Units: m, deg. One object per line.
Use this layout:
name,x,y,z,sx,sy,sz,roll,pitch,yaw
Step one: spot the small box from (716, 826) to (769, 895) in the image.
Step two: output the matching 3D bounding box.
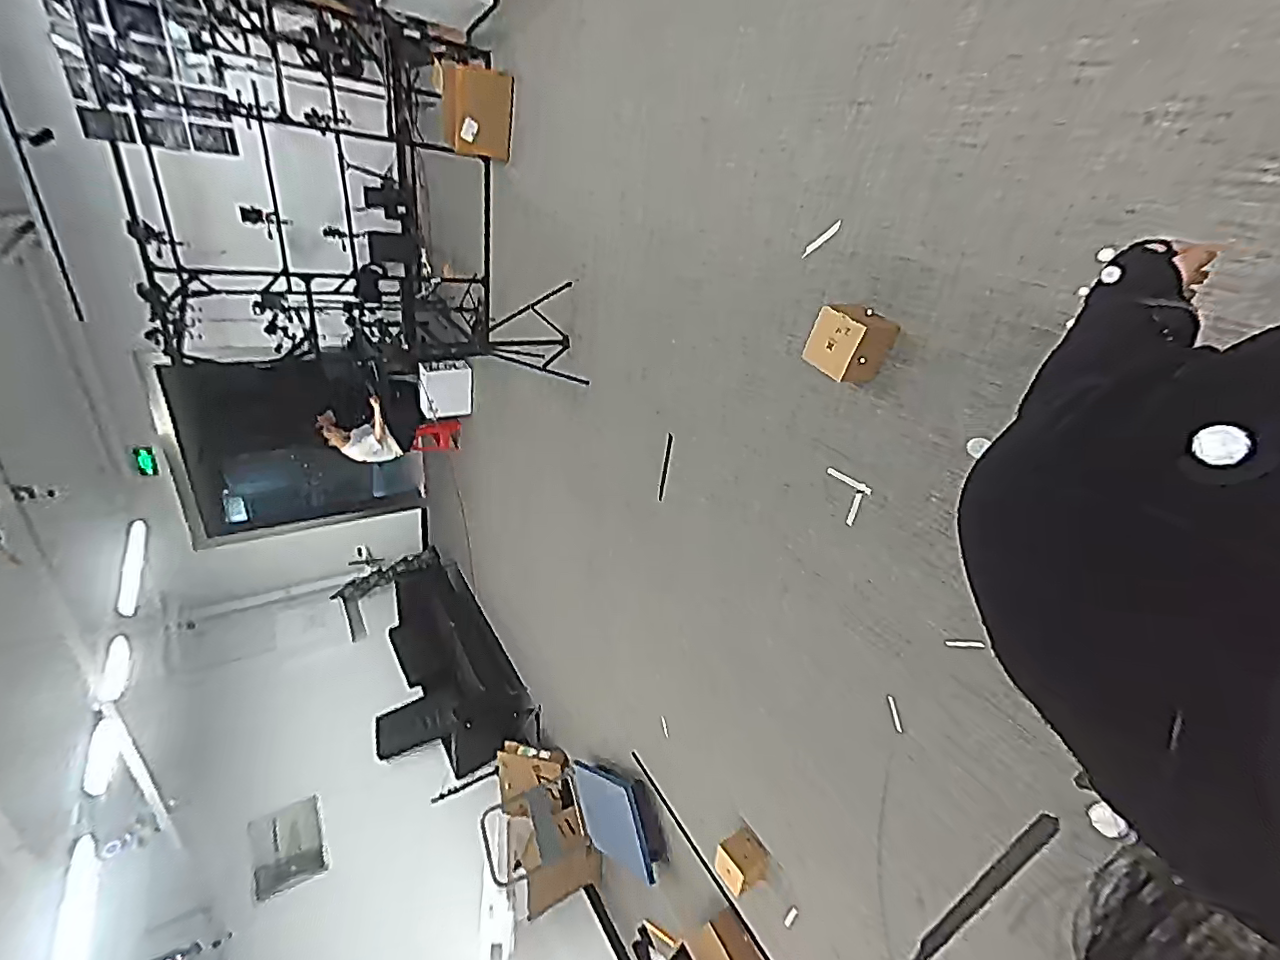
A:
small box,0.483,1.782,2.543,0.168,0.176,0.179,34,127,48

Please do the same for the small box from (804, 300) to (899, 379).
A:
small box,0.636,-0.424,1.620,0.168,0.176,0.179,49,137,37
